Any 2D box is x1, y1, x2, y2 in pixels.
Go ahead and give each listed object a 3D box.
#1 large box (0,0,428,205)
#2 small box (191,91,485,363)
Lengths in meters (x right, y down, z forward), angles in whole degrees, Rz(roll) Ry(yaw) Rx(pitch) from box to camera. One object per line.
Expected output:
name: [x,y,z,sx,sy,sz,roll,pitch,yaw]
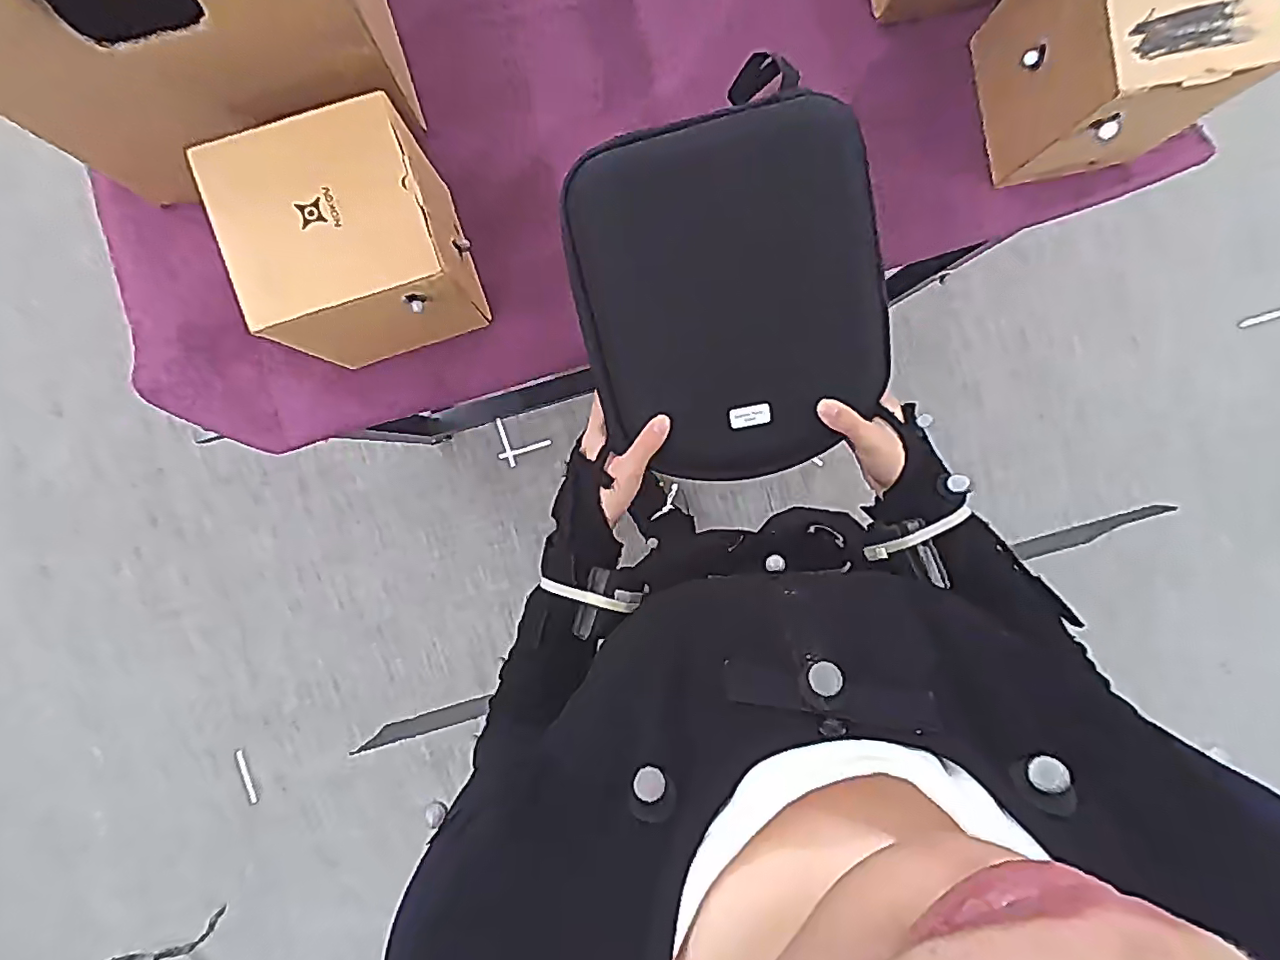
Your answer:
large box: [-0.434,-0.533,0.458,0.320,0.320,0.408,-18,95,-2]
small box: [-0.280,-0.231,0.544,0.179,0.176,0.168,-19,91,-2]
